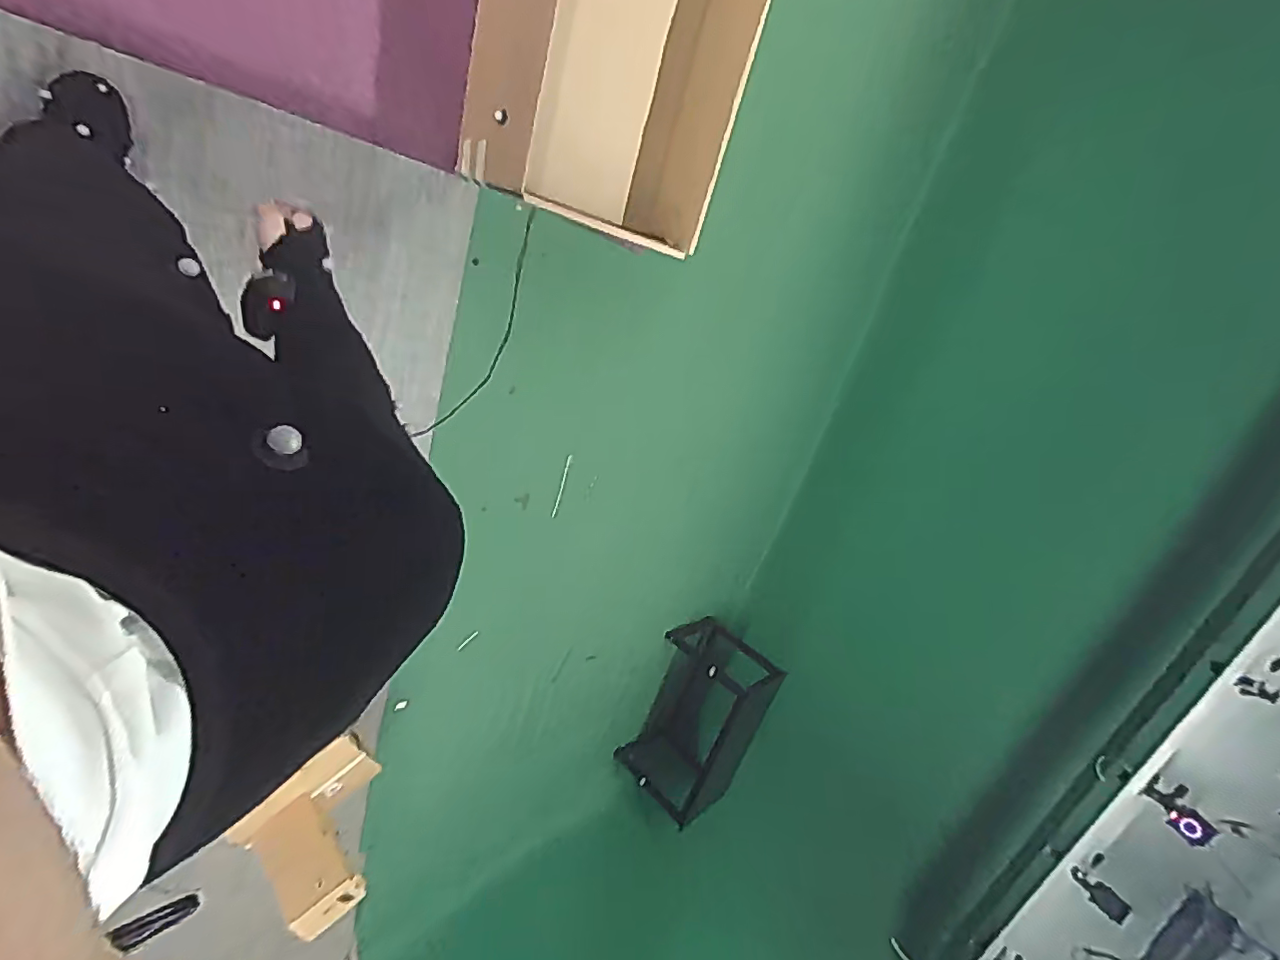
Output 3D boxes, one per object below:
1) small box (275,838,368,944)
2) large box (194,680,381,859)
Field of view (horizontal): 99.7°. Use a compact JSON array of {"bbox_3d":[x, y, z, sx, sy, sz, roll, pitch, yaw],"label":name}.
[{"bbox_3d":[-0.973,1.249,1.652,0.179,0.176,0.168,-31,137,-32],"label":"small box"},{"bbox_3d":[-1.214,0.998,1.886,0.408,0.320,0.320,-38,141,-28],"label":"large box"}]
